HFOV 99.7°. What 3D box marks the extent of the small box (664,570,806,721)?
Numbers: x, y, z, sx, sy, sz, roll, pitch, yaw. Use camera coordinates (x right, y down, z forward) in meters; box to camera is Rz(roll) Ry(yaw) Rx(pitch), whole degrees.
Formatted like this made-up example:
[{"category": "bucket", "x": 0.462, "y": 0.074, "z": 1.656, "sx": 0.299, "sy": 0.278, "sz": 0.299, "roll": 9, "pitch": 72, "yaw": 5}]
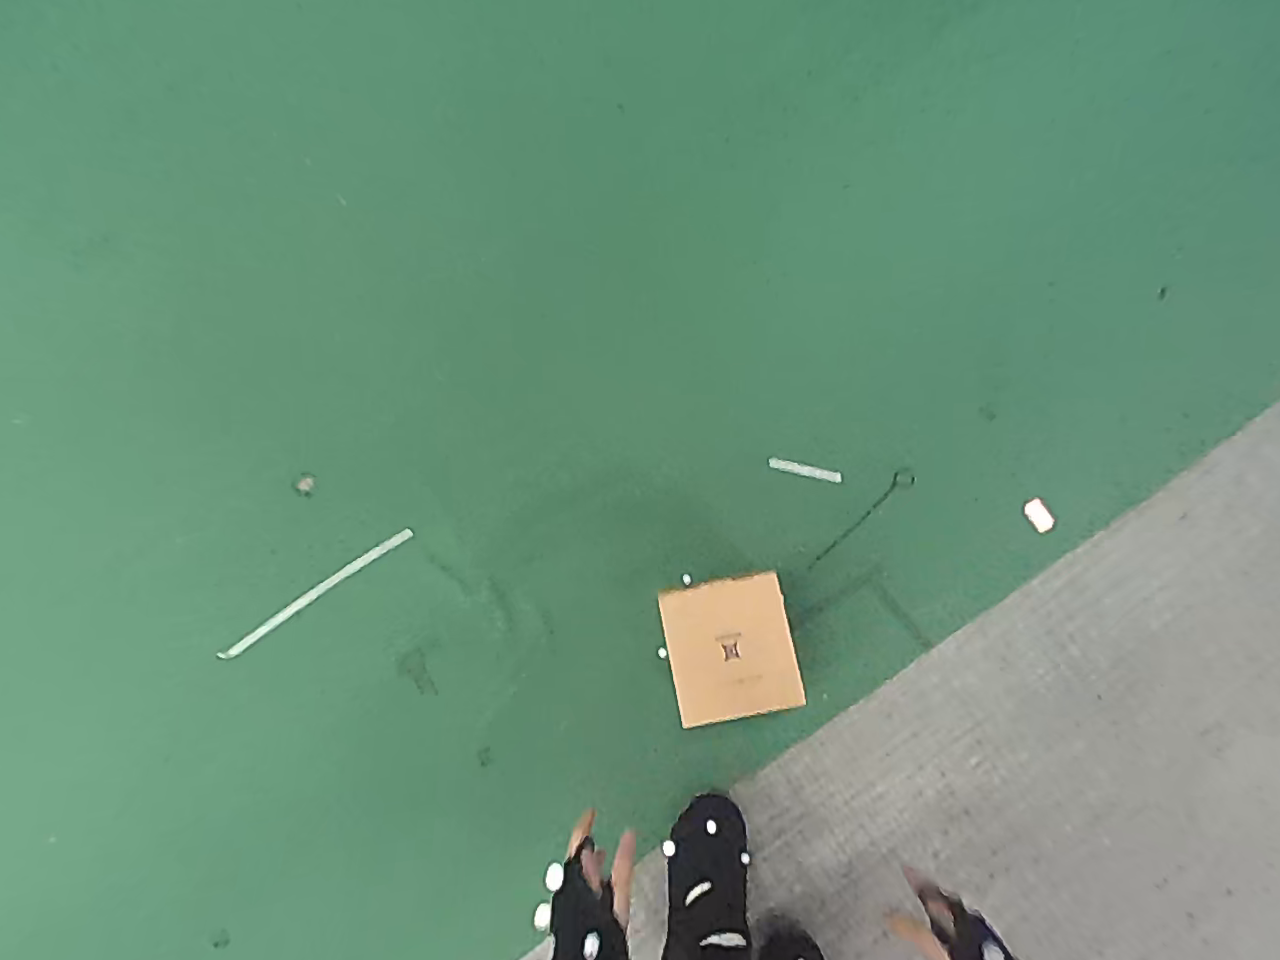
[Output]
[{"category": "small box", "x": 0.129, "y": 0.235, "z": 0.804, "sx": 0.168, "sy": 0.176, "sz": 0.179, "roll": -11, "pitch": 80, "yaw": 2}]
